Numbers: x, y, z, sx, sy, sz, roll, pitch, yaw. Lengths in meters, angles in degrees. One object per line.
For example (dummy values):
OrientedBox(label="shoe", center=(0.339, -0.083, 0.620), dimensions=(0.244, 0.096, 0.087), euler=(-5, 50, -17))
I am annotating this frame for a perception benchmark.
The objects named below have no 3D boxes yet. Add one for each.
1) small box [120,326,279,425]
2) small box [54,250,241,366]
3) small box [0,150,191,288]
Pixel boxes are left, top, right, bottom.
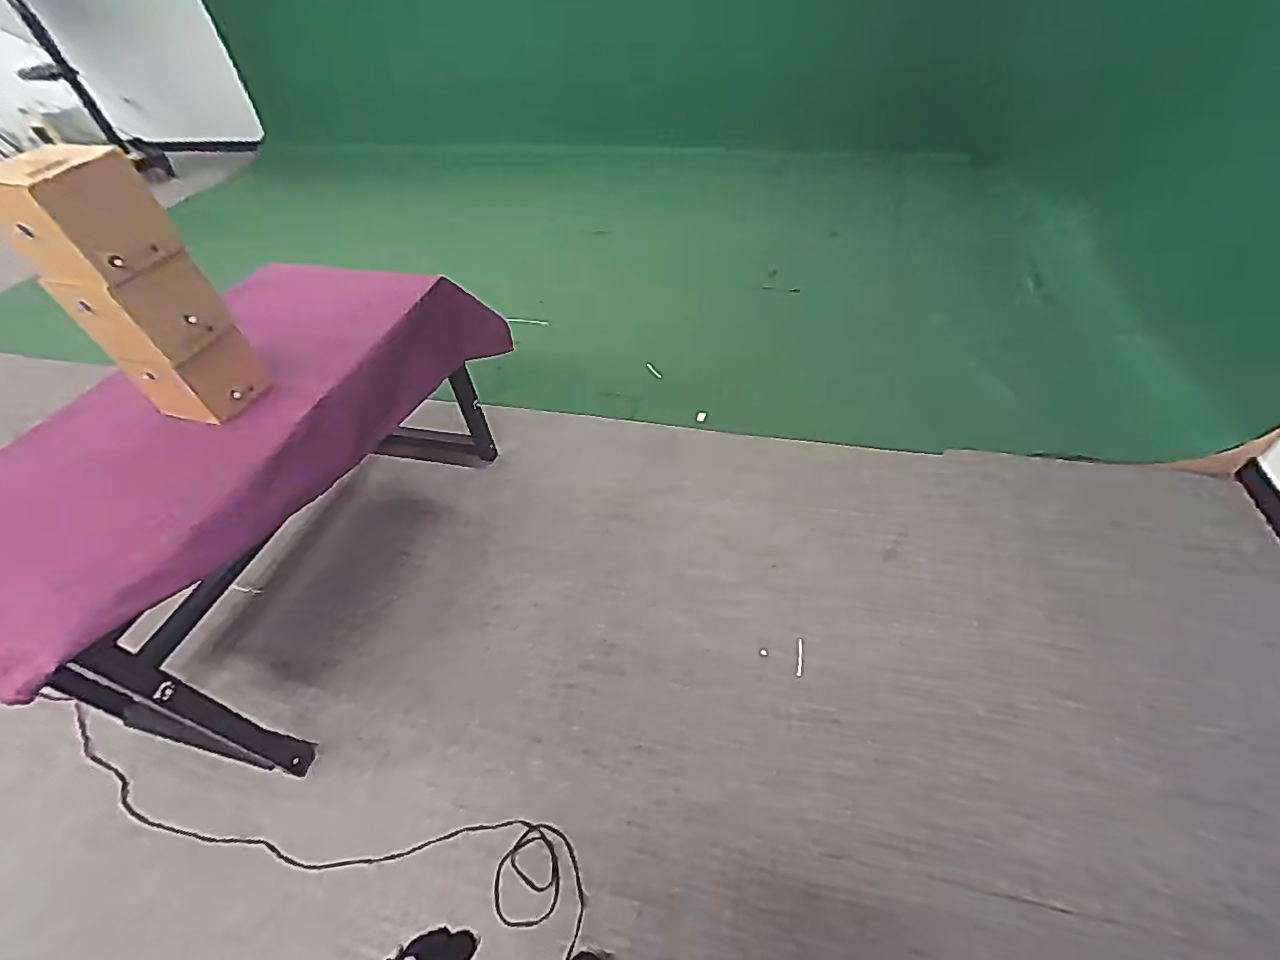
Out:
OrientedBox(label="small box", center=(-0.964, -0.241, 1.200), dimensions=(0.179, 0.176, 0.168), euler=(12, 51, 14))
OrientedBox(label="small box", center=(-0.961, -0.345, 1.073), dimensions=(0.179, 0.176, 0.168), euler=(10, 51, 14))
OrientedBox(label="small box", center=(-0.961, -0.456, 0.951), dimensions=(0.179, 0.176, 0.168), euler=(10, 50, 15))
